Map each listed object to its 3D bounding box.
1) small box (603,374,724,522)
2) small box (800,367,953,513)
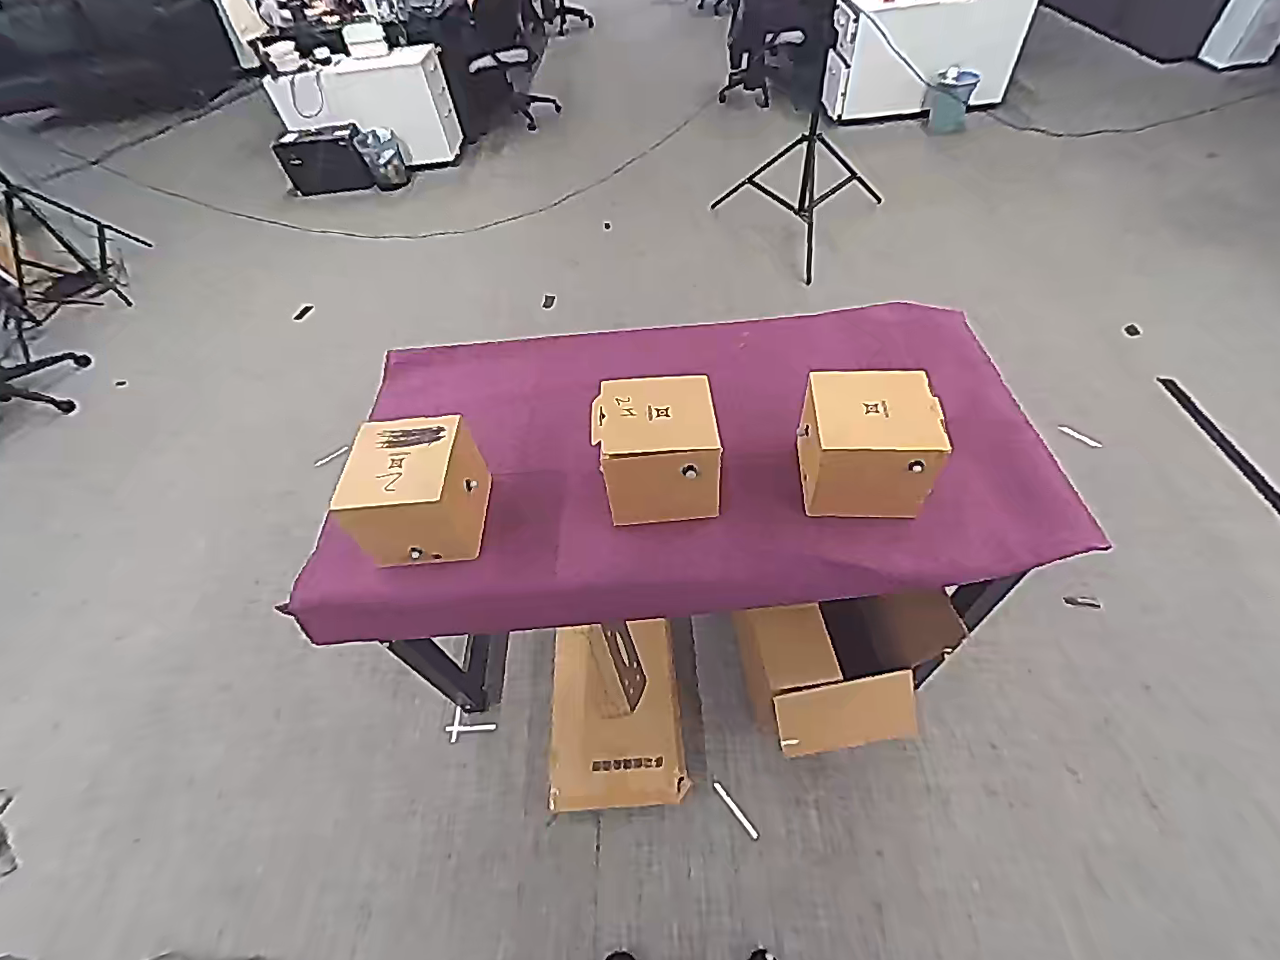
[{"bbox_3d":[0.037,-0.049,0.880,0.179,0.176,0.168,-6,49,2],"label":"small box"},{"bbox_3d":[0.354,-0.059,0.852,0.179,0.176,0.168,0,52,7],"label":"small box"}]
